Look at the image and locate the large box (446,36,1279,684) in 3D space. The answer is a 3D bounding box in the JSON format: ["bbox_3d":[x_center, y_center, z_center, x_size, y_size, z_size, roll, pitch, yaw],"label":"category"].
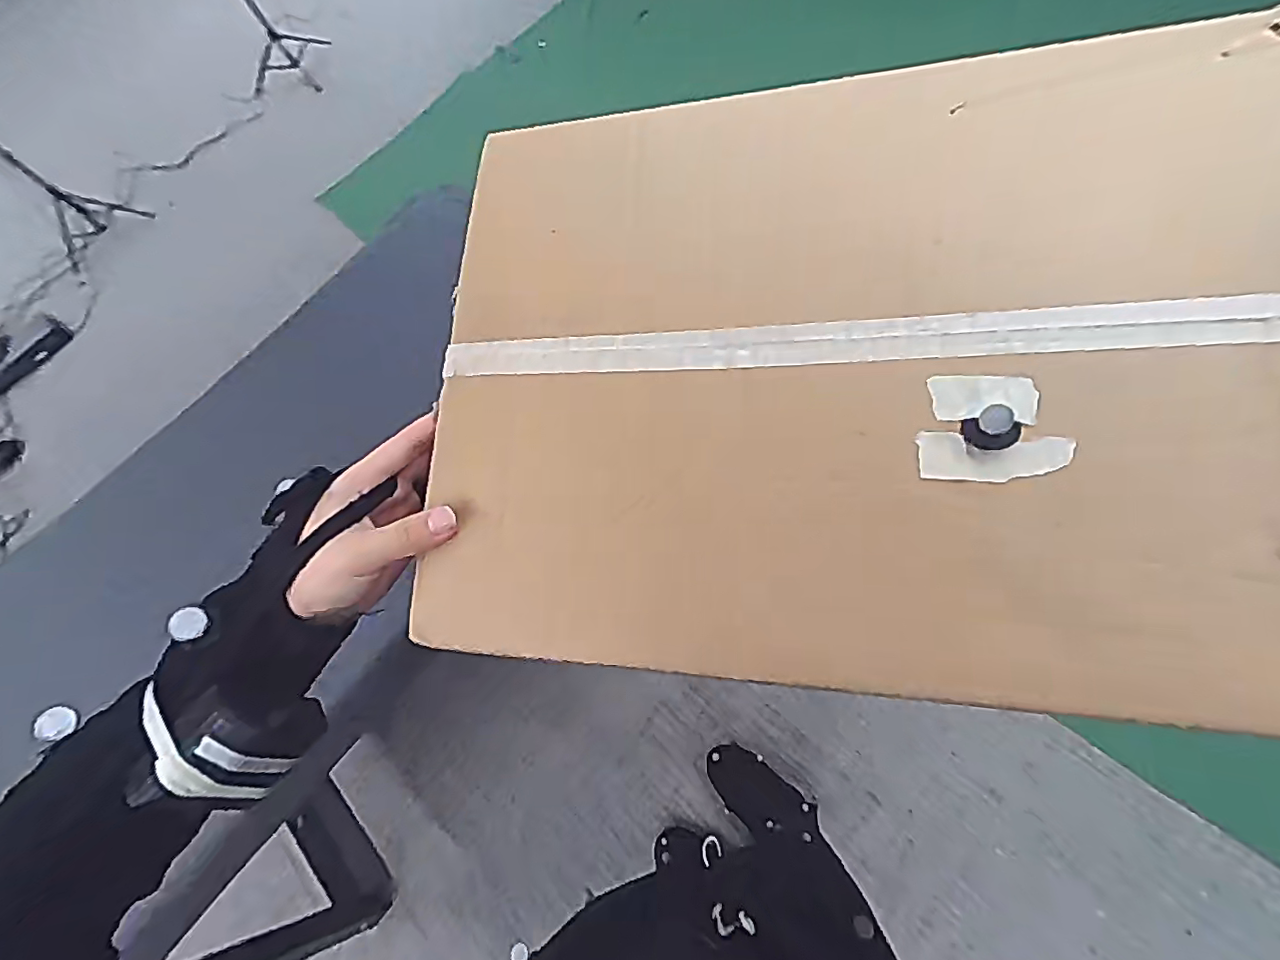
[{"bbox_3d":[0.130,-0.038,0.417,0.408,0.320,0.320,1,77,14],"label":"large box"}]
